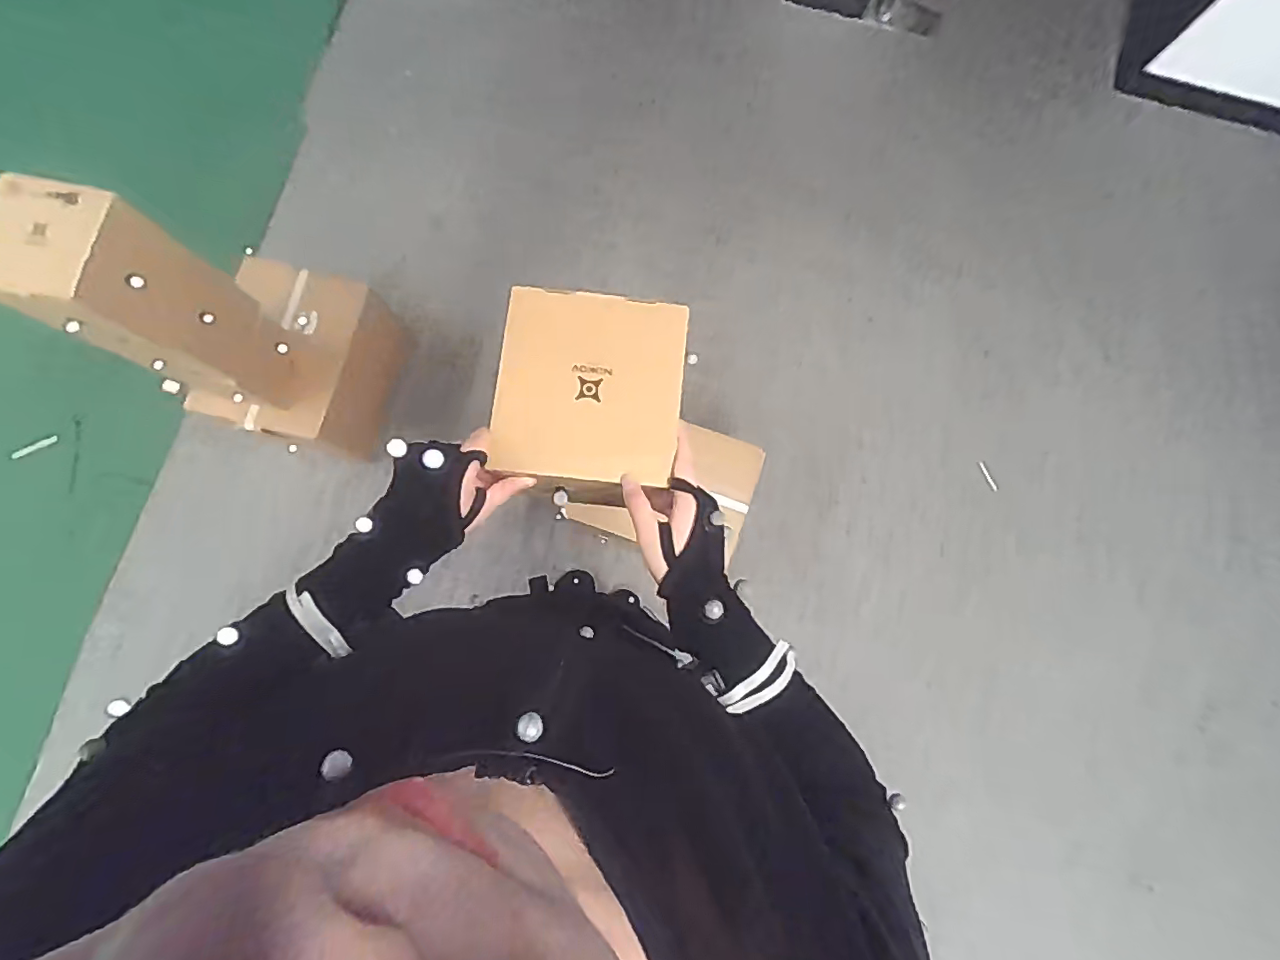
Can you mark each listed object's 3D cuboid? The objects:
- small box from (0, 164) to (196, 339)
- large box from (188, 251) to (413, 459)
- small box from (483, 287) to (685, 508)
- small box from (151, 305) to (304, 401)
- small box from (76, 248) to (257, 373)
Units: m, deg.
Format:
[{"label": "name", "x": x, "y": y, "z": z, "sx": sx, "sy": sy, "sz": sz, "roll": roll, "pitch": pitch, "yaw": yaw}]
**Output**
[{"label": "small box", "x": -0.845, "y": -0.340, "z": 0.837, "sx": 0.168, "sy": 0.176, "sz": 0.179, "roll": 11, "pitch": 80, "yaw": -2}, {"label": "large box", "x": -0.848, "y": -0.303, "z": 1.411, "sx": 0.320, "sy": 0.320, "sz": 0.408, "roll": 14, "pitch": 79, "yaw": -1}, {"label": "small box", "x": -0.050, "y": -0.071, "z": 0.561, "sx": 0.168, "sy": 0.176, "sz": 0.179, "roll": 6, "pitch": 78, "yaw": -2}, {"label": "small box", "x": -0.867, "y": -0.281, "z": 1.159, "sx": 0.179, "sy": 0.176, "sz": 0.168, "roll": 13, "pitch": 79, "yaw": 0}, {"label": "small box", "x": -0.856, "y": -0.314, "z": 0.999, "sx": 0.168, "sy": 0.176, "sz": 0.179, "roll": 9, "pitch": 79, "yaw": -2}]
